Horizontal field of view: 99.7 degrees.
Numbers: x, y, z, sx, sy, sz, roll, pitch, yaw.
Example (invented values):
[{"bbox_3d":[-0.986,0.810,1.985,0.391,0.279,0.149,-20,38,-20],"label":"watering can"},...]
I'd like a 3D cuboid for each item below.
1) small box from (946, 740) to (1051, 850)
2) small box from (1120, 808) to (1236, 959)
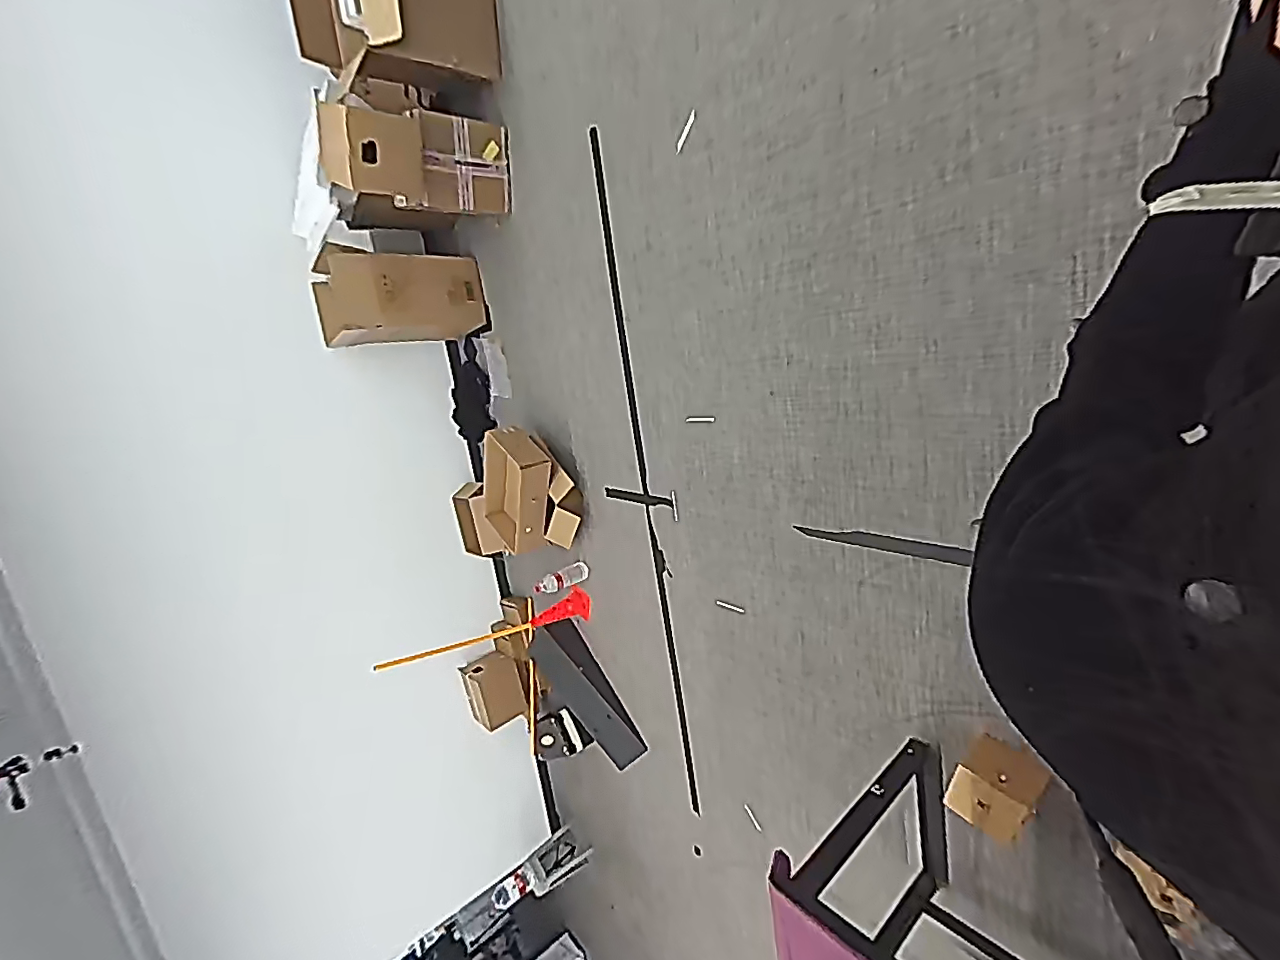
[{"bbox_3d":[0.991,0.856,1.496,0.179,0.176,0.168,28,124,42],"label":"small box"},{"bbox_3d":[1.215,0.899,1.221,0.168,0.176,0.179,6,108,51],"label":"small box"}]
